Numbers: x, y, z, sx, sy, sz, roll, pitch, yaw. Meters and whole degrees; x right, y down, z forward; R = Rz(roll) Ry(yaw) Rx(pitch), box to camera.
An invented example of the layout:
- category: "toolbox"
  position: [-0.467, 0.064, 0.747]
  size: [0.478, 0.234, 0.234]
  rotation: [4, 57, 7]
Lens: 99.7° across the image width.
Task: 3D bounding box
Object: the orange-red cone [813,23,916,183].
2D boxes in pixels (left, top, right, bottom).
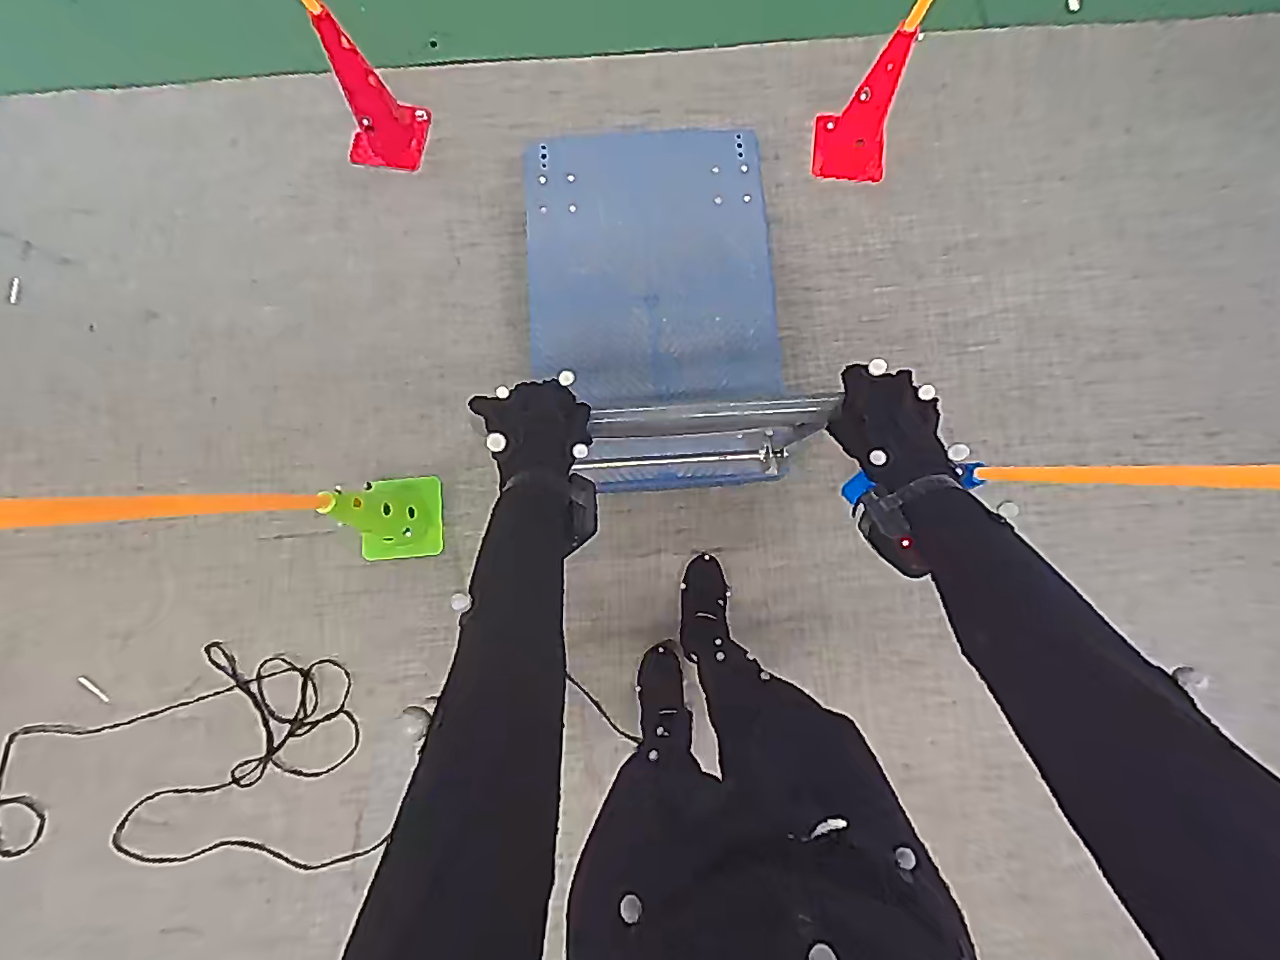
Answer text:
- category: "orange-red cone"
  position: [0.591, -0.958, 1.357]
  size: [0.198, 0.360, 0.199]
  rotation: [7, 82, 2]
